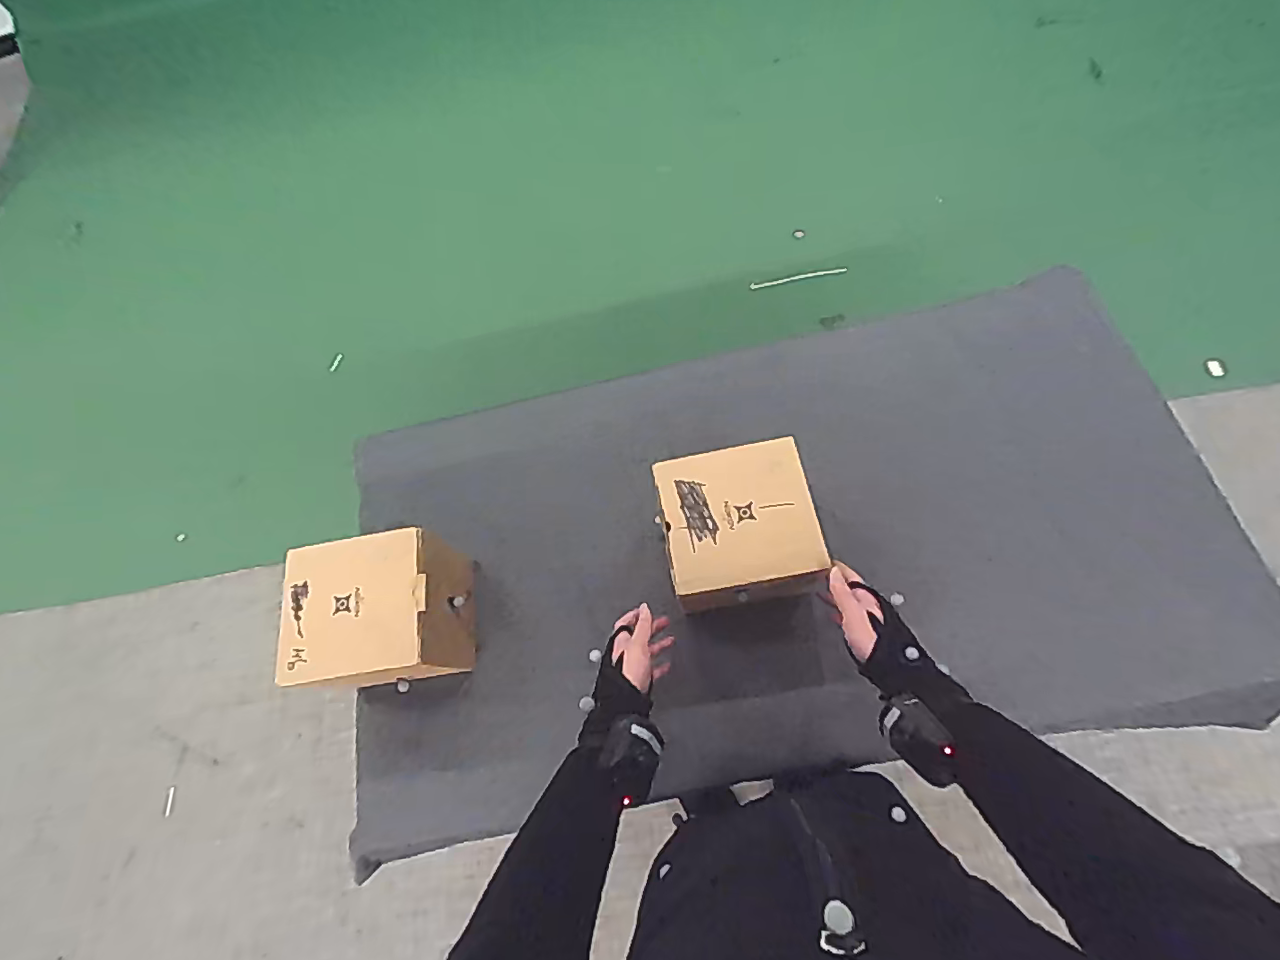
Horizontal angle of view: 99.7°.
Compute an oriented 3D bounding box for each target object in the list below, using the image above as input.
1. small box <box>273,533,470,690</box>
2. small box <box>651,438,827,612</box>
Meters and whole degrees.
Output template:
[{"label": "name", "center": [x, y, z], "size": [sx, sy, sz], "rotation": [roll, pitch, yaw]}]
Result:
[{"label": "small box", "center": [-0.335, 0.179, 0.714], "size": [0.179, 0.176, 0.168], "rotation": [-9, 68, 3]}, {"label": "small box", "center": [0.119, 0.067, 0.696], "size": [0.179, 0.176, 0.168], "rotation": [-10, 68, 2]}]
